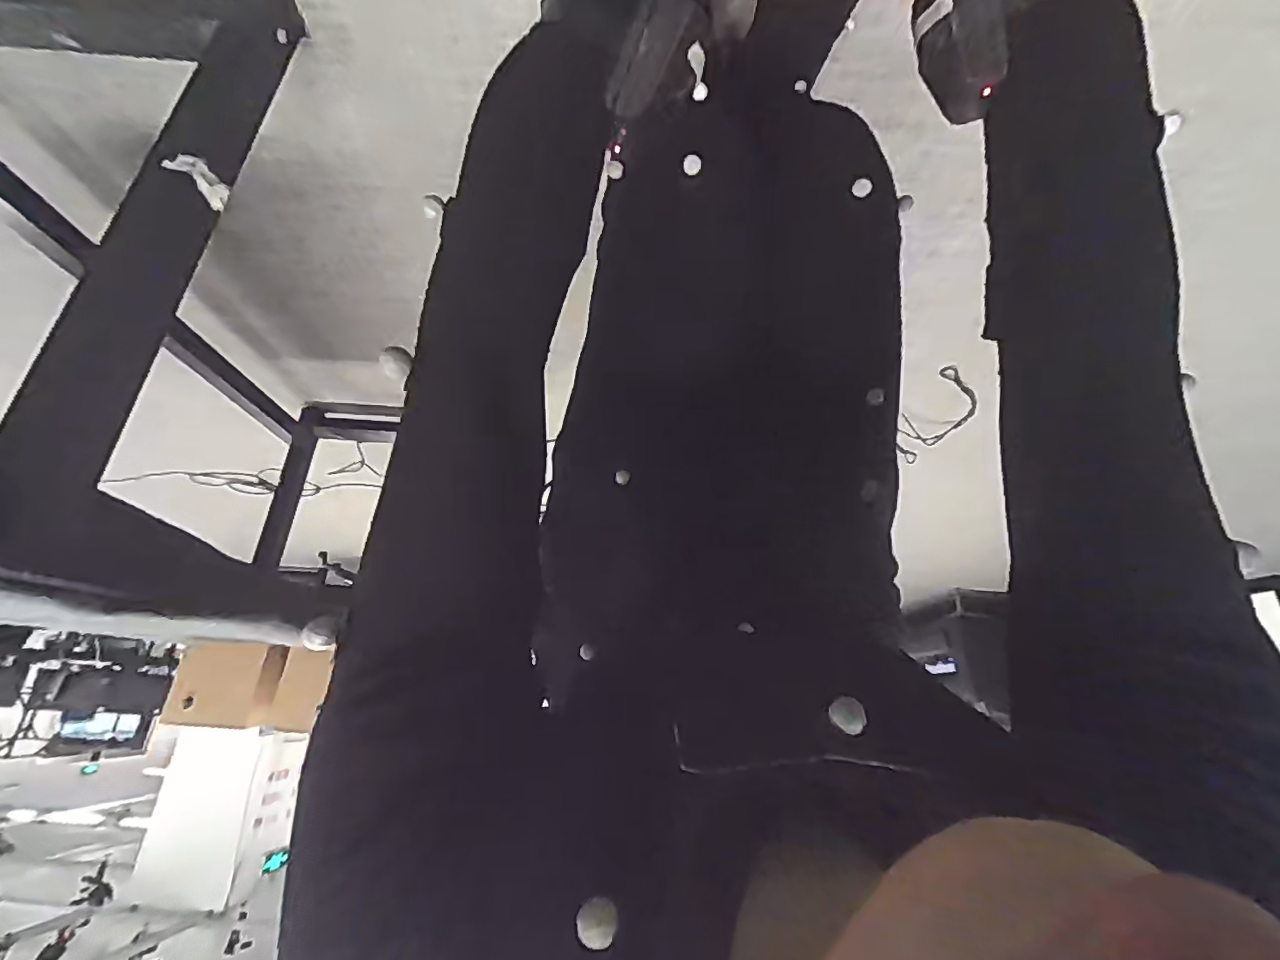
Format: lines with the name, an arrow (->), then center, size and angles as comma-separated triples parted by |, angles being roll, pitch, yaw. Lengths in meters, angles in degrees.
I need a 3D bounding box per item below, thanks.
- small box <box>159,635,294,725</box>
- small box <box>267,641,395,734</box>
small box -> -0.873, 0.434, 1.181 | 0.179, 0.176, 0.168 | 4, 158, -1
small box -> -0.657, 0.449, 1.180 | 0.179, 0.176, 0.168 | 6, 158, -1
